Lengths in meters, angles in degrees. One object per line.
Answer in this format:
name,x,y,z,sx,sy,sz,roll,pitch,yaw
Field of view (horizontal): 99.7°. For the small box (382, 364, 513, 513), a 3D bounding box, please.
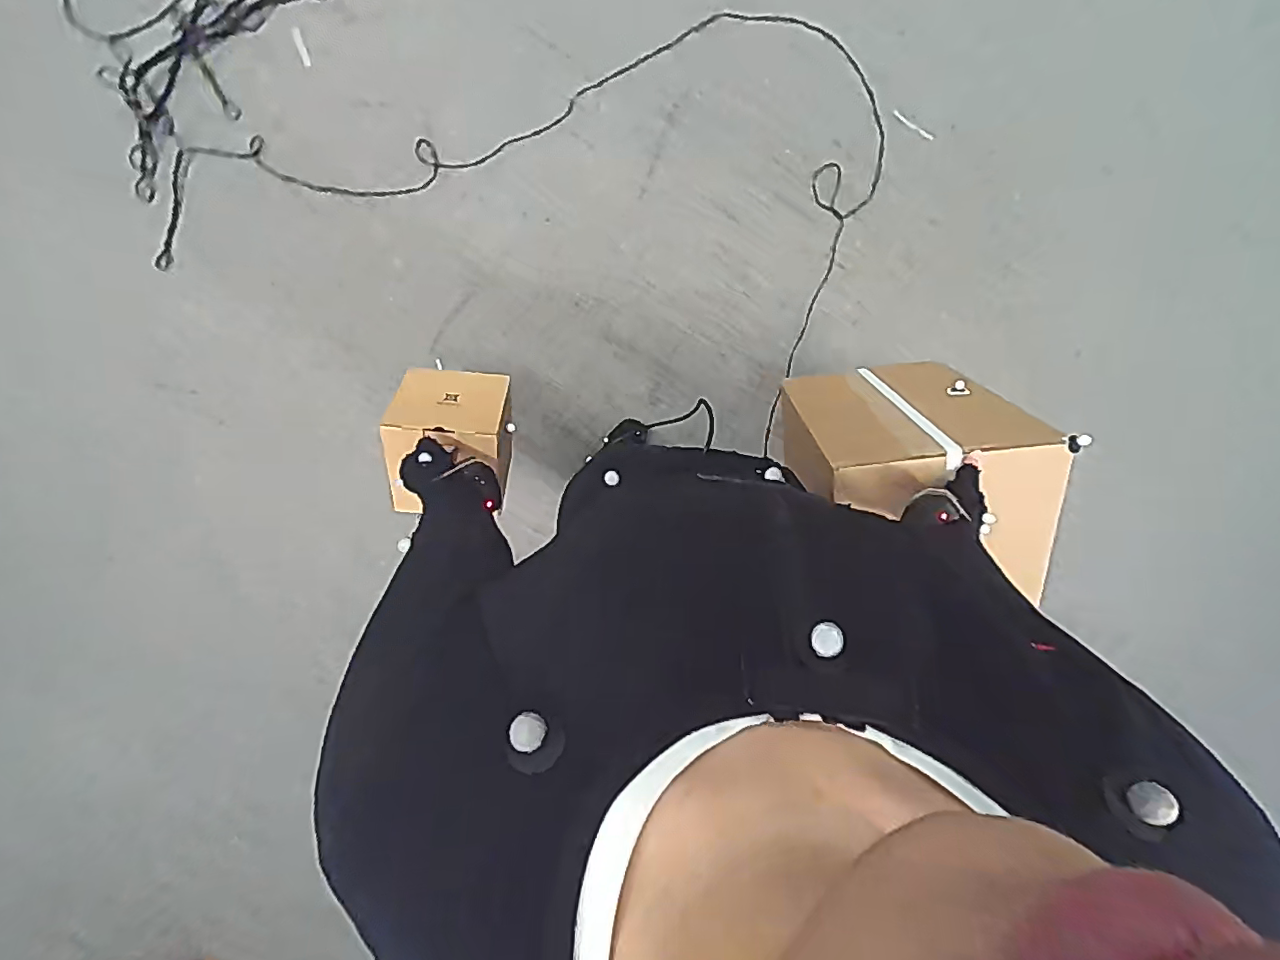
small box,-0.305,-0.070,0.893,0.168,0.179,0.176,4,130,-8
